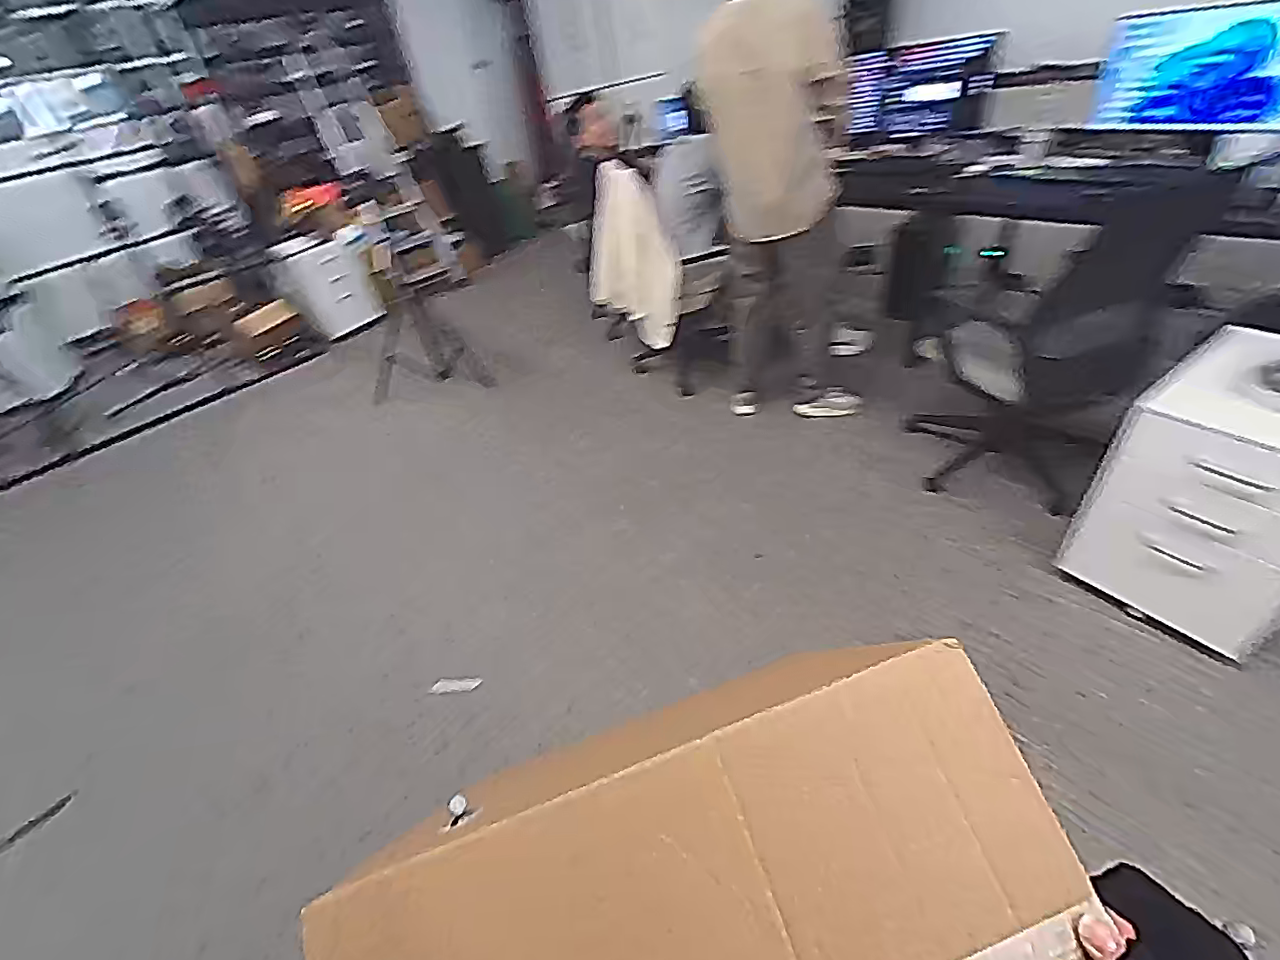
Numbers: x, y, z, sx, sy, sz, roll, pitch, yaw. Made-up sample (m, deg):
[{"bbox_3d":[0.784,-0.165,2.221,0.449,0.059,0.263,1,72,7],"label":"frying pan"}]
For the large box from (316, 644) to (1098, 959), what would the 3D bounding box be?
[{"bbox_3d":[0.055,0.359,0.419,0.408,0.320,0.320,-20,73,-8],"label":"large box"}]
